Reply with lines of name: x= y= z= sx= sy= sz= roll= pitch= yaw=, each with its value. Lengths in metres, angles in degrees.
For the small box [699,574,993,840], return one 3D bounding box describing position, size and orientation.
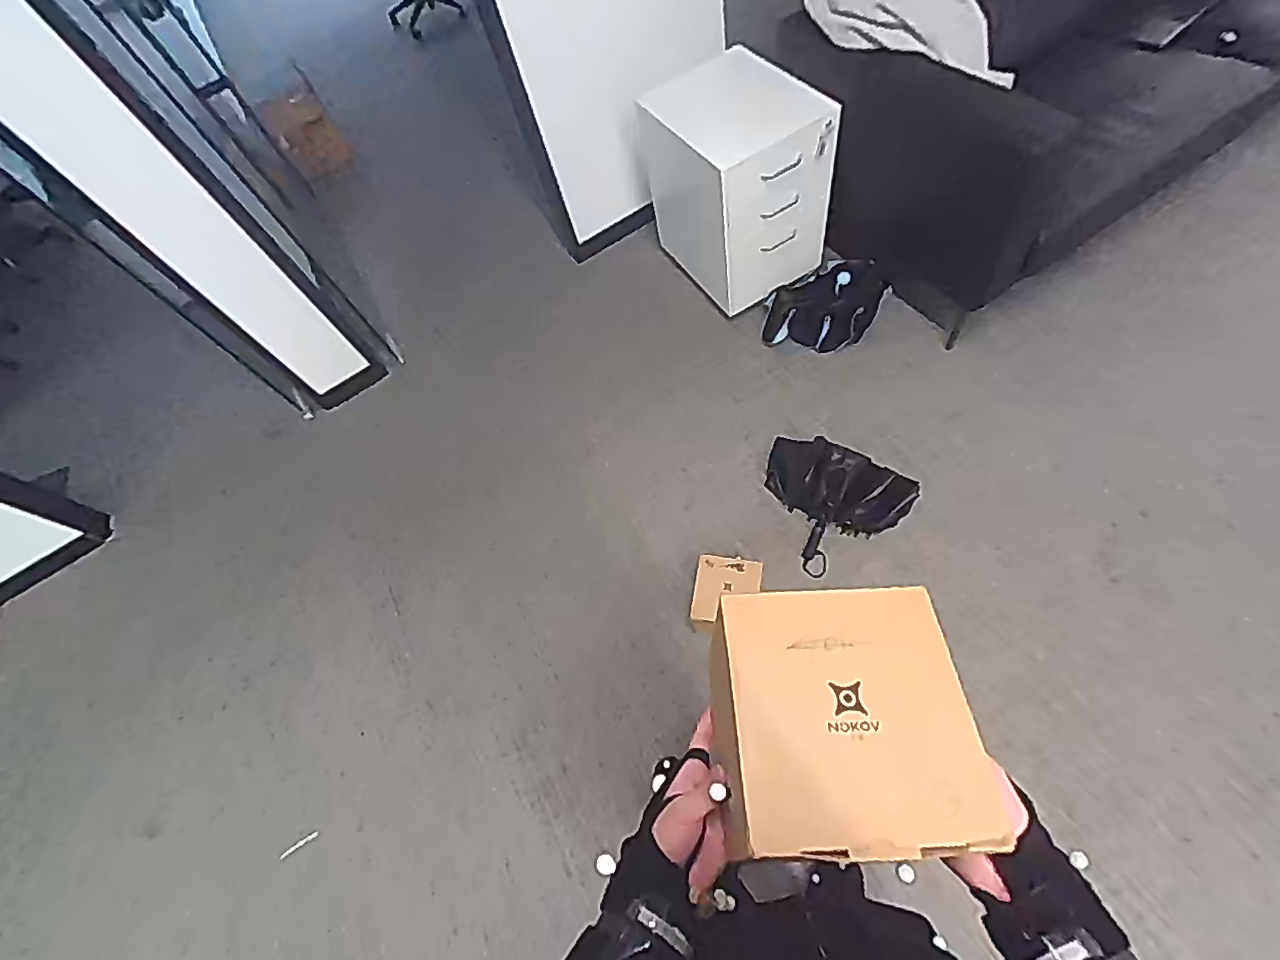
small box: x=0.141 y=0.194 z=0.451 sx=0.168 sy=0.176 sz=0.179 roll=-1 pitch=54 yaw=0
